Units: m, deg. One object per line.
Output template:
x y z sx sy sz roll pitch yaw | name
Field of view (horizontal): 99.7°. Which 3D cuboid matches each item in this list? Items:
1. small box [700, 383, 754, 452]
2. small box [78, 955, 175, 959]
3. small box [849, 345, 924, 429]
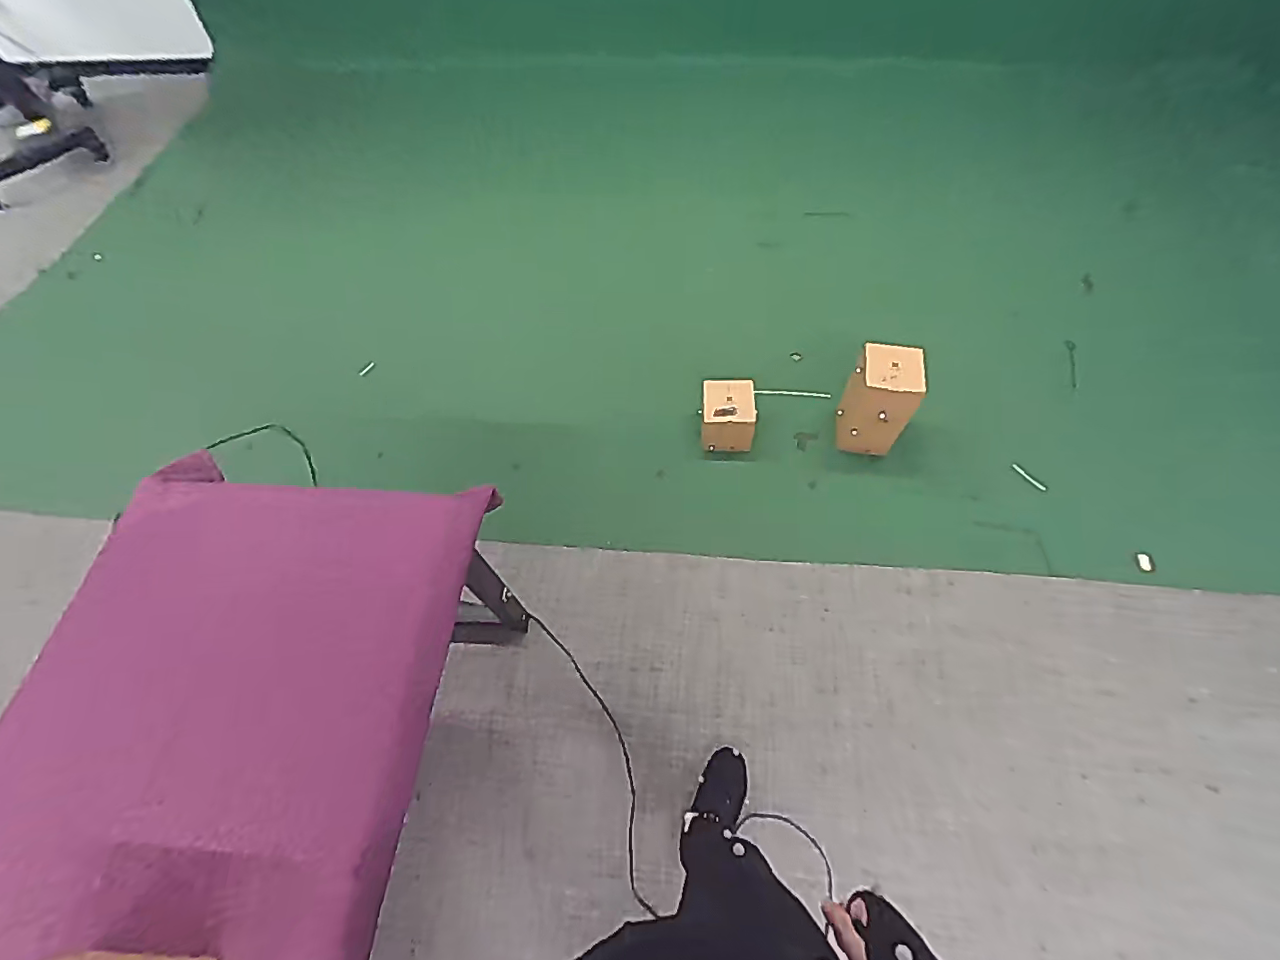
0.292 -0.208 1.825 0.168 0.176 0.179 1 59 4 | small box
-0.609 0.618 0.557 0.179 0.176 0.168 1 60 3 | small box
0.747 -0.281 1.654 0.168 0.176 0.179 9 61 8 | small box
